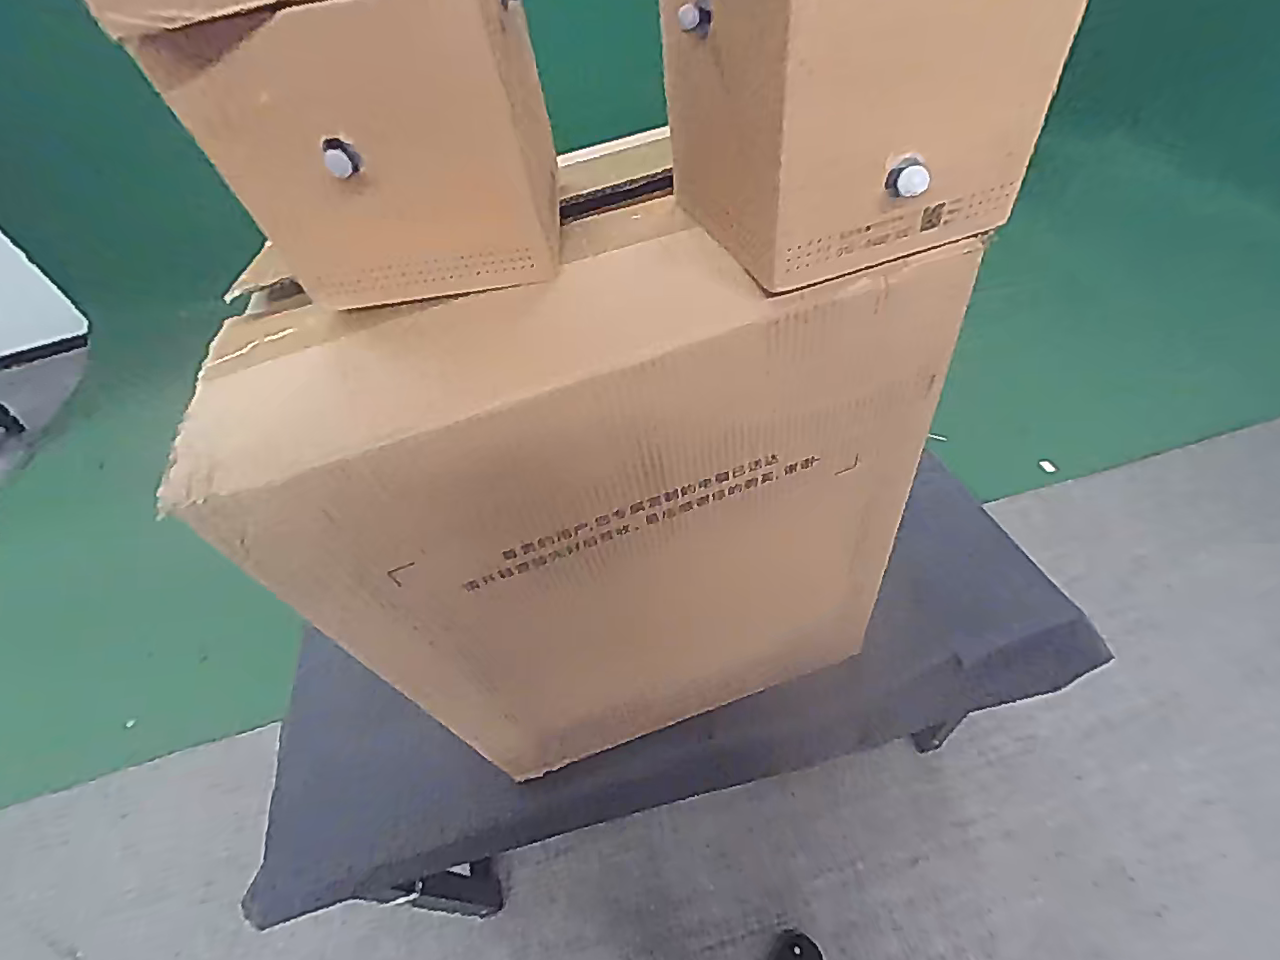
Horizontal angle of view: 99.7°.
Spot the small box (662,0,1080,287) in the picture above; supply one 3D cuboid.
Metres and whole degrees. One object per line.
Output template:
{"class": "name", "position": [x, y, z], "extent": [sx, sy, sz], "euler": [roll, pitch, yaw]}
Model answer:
{"class": "small box", "position": [0.116, -0.247, 0.332], "extent": [0.168, 0.176, 0.179], "euler": [-18, 49, -6]}

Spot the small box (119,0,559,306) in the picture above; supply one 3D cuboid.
{"class": "small box", "position": [-0.162, -0.239, 0.365], "extent": [0.179, 0.176, 0.168], "euler": [-8, 56, 4]}
